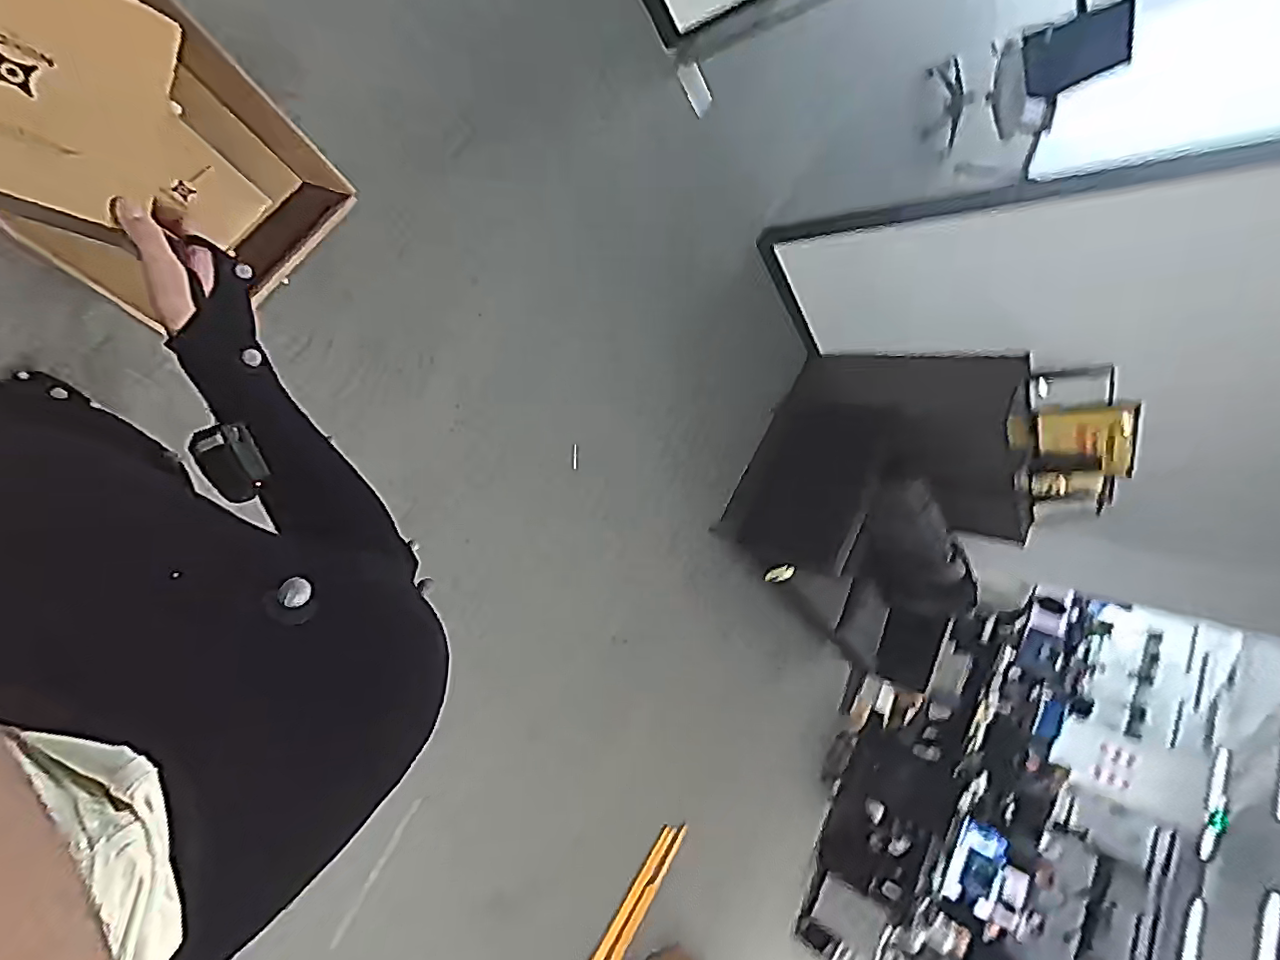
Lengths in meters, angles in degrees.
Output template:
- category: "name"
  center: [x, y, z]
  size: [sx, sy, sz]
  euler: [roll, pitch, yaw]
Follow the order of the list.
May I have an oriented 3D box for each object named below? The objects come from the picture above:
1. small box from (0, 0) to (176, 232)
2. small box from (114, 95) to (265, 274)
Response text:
- category: "small box"
  center: [-0.502, -0.319, 0.426]
  size: [0.168, 0.176, 0.179]
  euler: [8, 98, -50]
- category: "small box"
  center: [-0.726, -0.440, 0.827]
  size: [0.168, 0.176, 0.179]
  euler: [47, 65, -42]
